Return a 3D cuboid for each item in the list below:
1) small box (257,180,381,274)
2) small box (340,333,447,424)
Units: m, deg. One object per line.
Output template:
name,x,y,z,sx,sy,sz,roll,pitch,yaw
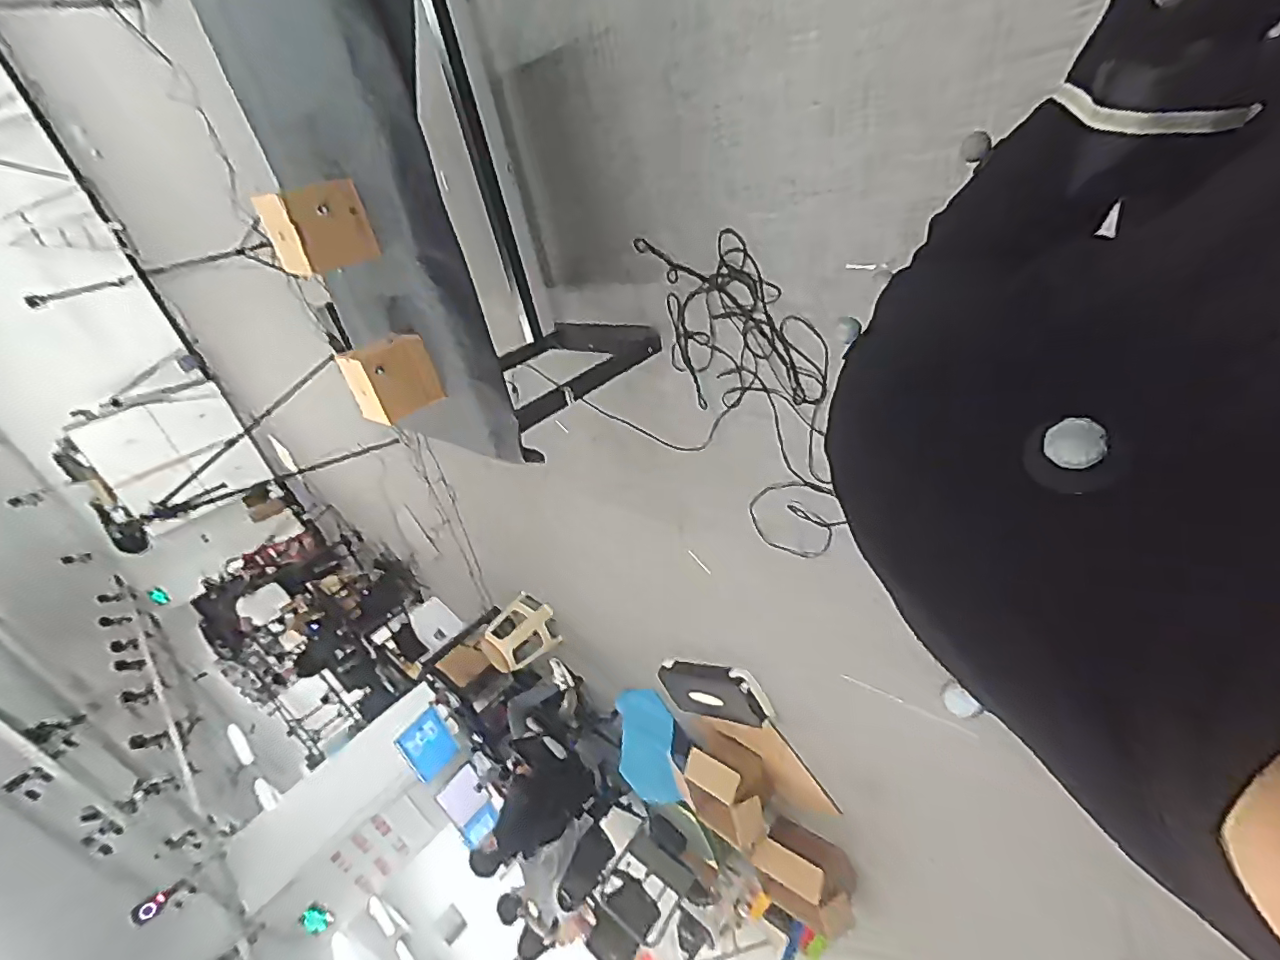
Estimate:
small box,-0.724,-0.580,1.238,0.179,0.176,0.168,21,133,38
small box,-0.634,-0.267,1.407,0.168,0.176,0.179,15,130,41
